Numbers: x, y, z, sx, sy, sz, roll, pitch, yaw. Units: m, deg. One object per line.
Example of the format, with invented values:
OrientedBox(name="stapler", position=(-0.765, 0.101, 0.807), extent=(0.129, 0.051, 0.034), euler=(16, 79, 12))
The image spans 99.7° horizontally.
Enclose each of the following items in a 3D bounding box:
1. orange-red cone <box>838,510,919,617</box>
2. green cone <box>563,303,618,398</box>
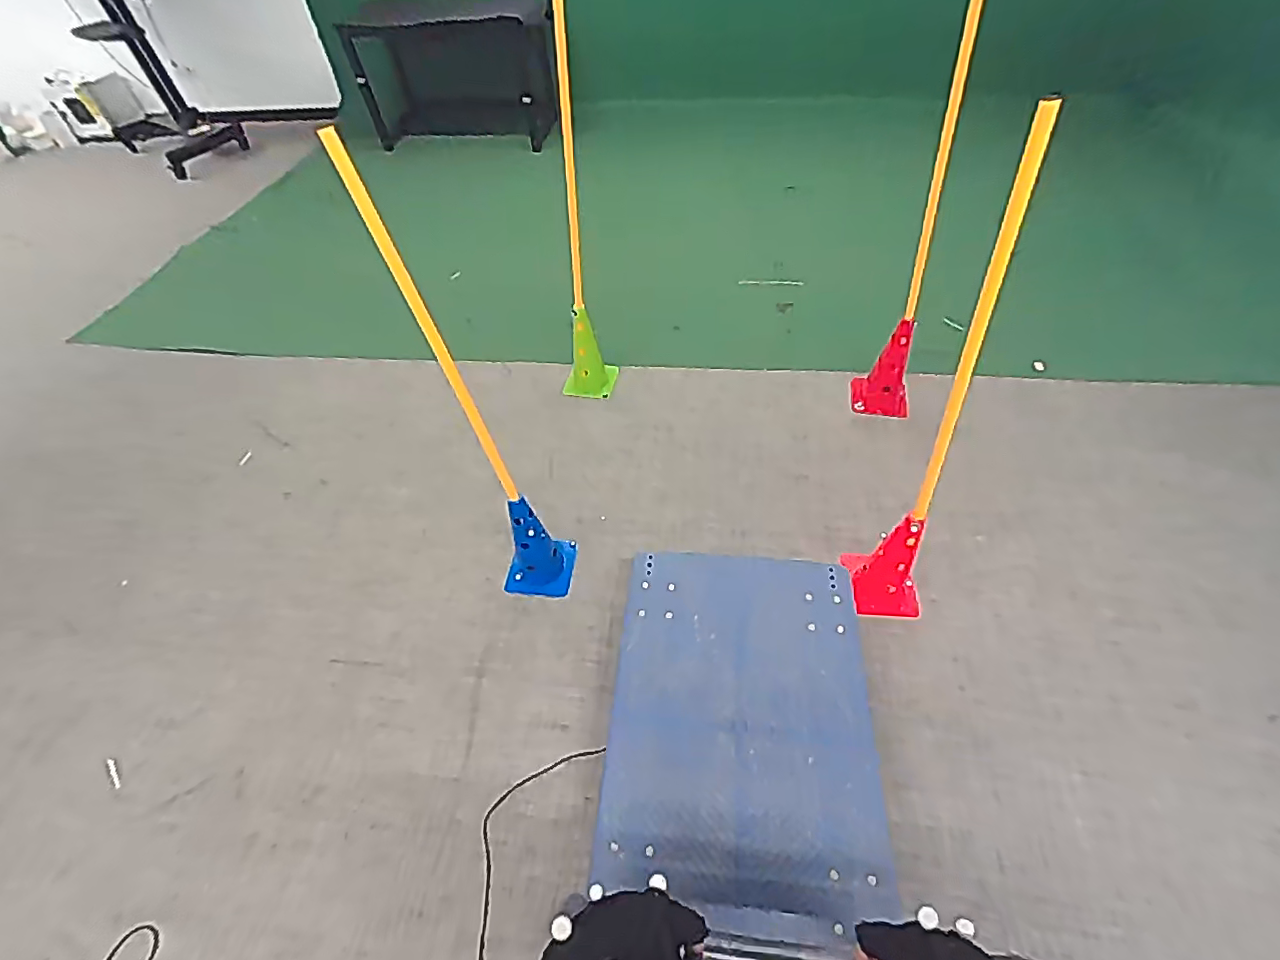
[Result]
OrientedBox(name="orange-red cone", position=(0.680, 0.201, 1.465), extent=(0.199, 0.360, 0.198), euler=(2, 51, 8))
OrientedBox(name="green cone", position=(-0.214, -0.523, 2.112), extent=(0.202, 0.368, 0.200), euler=(6, 51, 10))
